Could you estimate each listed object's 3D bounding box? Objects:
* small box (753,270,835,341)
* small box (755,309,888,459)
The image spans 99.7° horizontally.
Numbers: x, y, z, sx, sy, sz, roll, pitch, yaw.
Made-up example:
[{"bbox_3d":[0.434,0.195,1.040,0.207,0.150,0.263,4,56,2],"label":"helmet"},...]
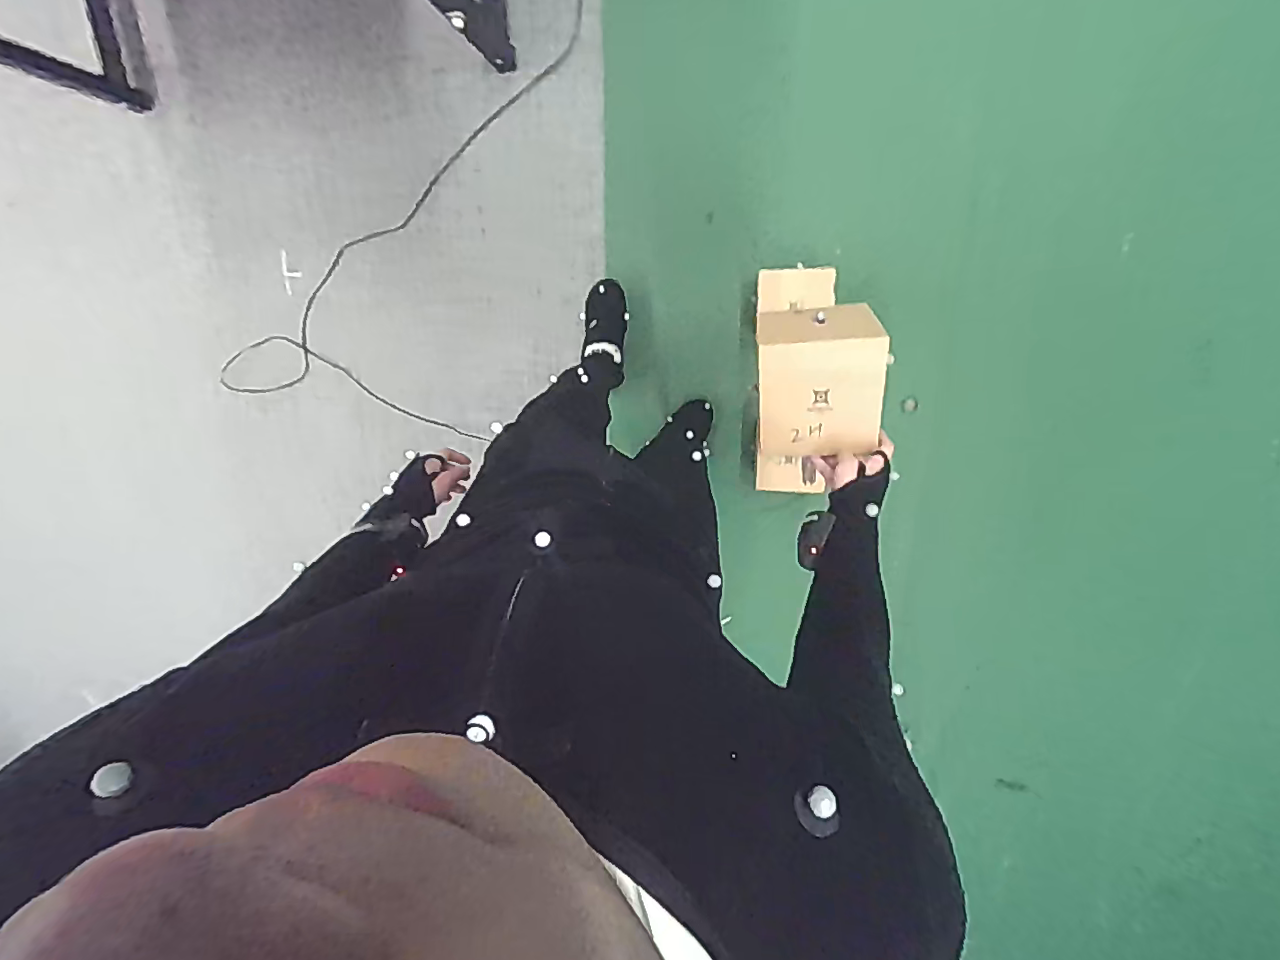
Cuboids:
[{"bbox_3d":[0.374,-0.423,1.344,0.179,0.176,0.168,1,105,9],"label":"small box"},{"bbox_3d":[0.258,-0.149,0.810,0.168,0.176,0.179,-1,122,12],"label":"small box"}]
